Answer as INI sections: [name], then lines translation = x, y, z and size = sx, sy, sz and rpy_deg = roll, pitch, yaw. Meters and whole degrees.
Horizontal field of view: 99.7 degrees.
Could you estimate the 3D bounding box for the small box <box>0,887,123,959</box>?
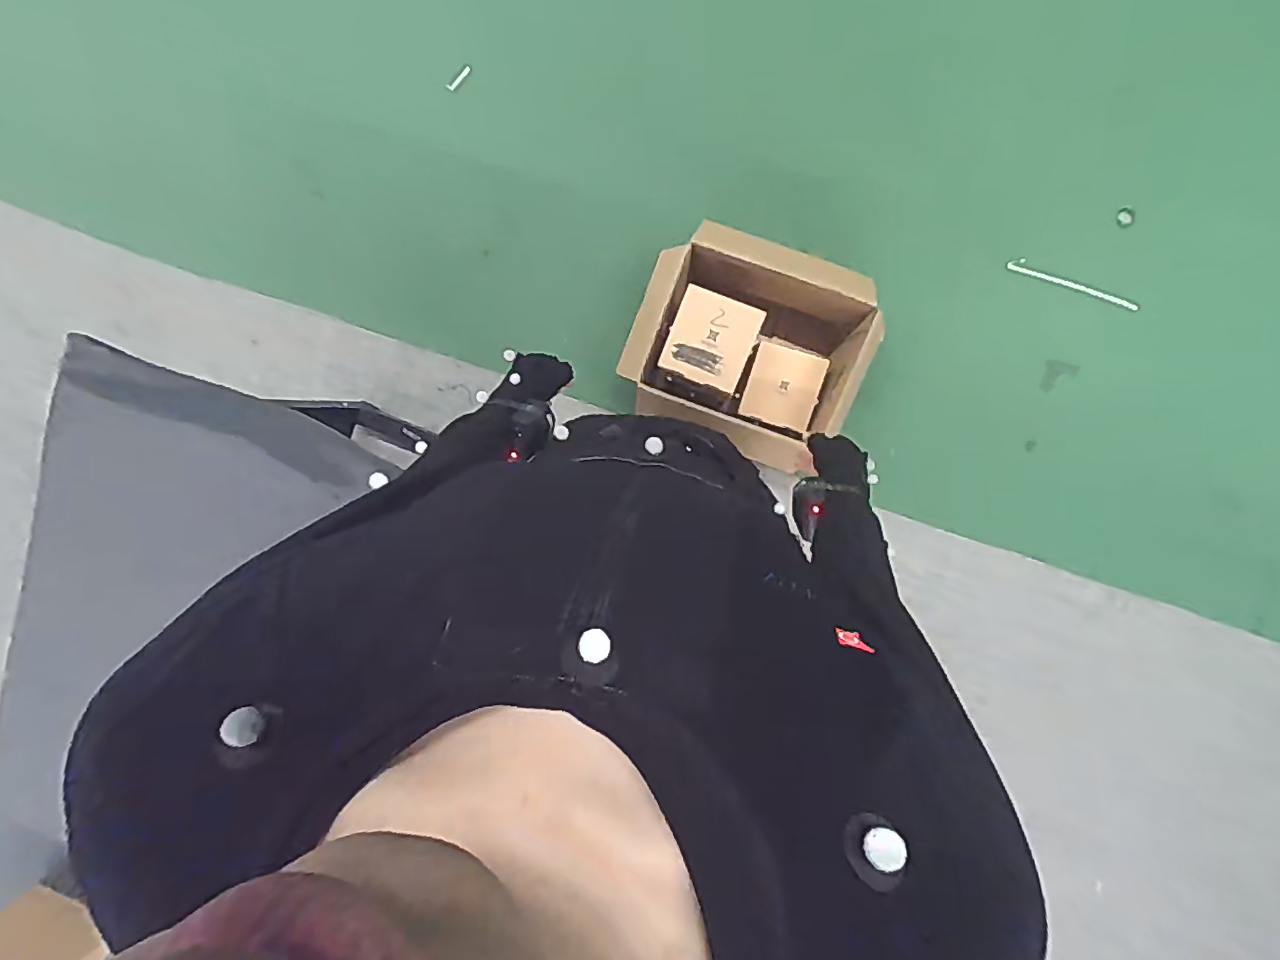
[small box]
translation = -1.009, 0.821, 0.881
size = 0.179, 0.176, 0.168
rpy_deg = 19, 99, 4
